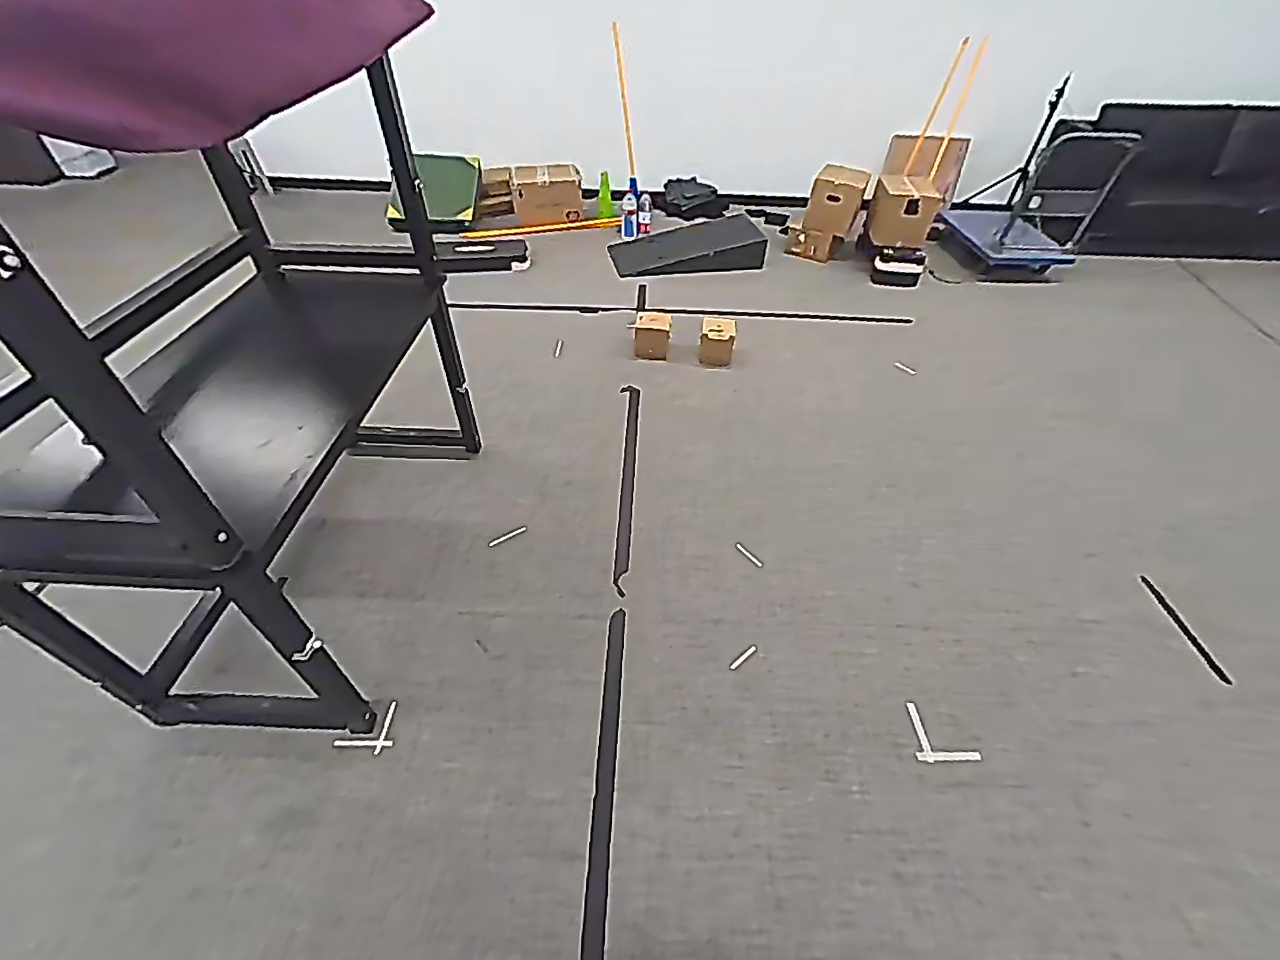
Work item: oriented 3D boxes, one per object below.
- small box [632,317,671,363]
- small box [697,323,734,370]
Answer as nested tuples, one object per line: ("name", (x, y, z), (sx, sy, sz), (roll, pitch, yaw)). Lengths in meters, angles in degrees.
("small box", (0.060, -0.724, 2.806), (0.179, 0.176, 0.168), (7, 44, 3))
("small box", (0.389, -0.688, 2.788), (0.168, 0.176, 0.179), (7, 43, 4))
